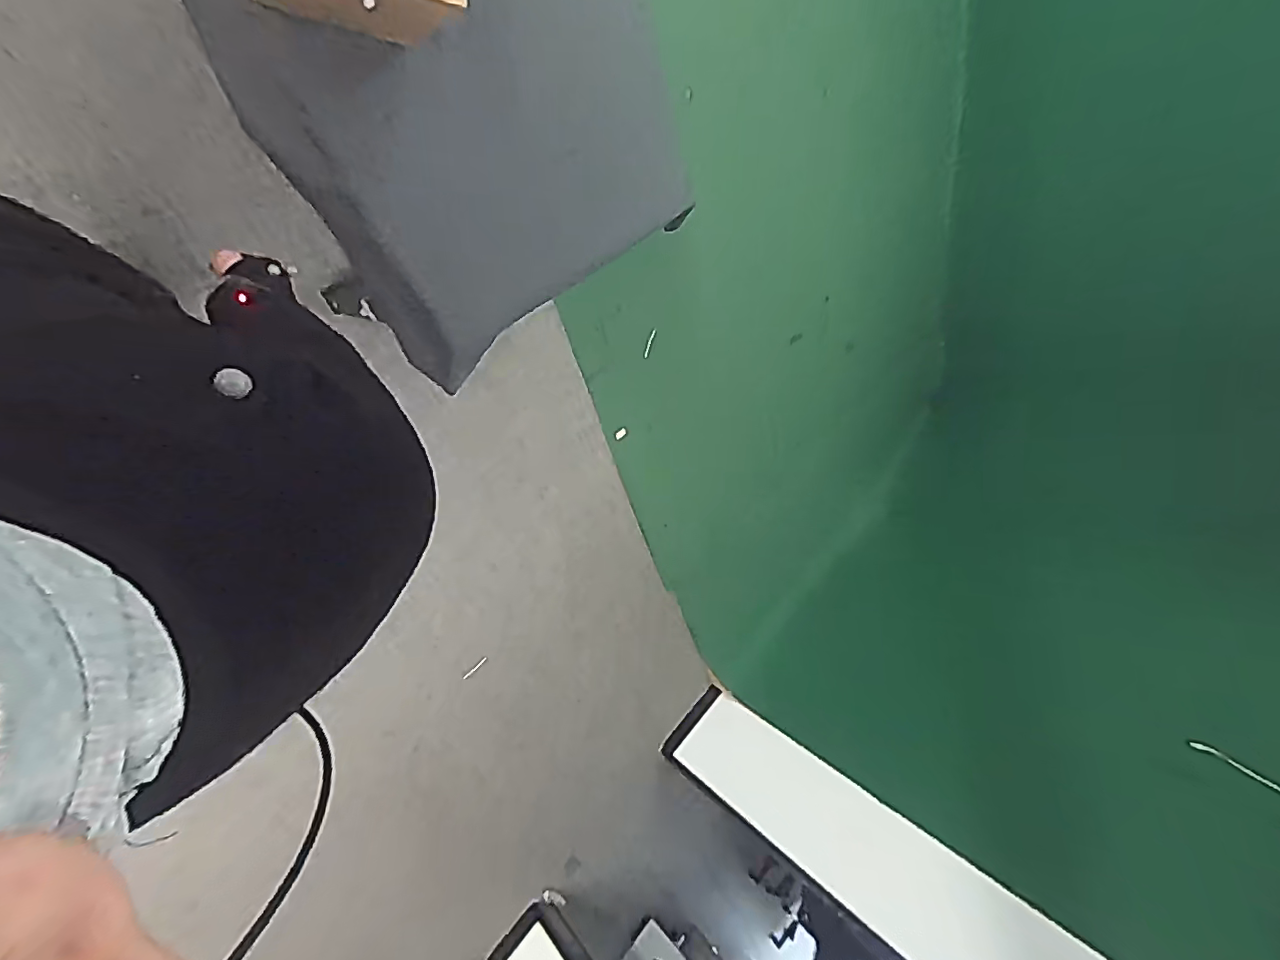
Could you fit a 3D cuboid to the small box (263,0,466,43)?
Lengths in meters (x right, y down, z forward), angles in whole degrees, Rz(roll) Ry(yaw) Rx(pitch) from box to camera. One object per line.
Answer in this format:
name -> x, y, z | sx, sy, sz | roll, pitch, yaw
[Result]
small box -> -0.309, -0.600, 0.573 | 0.179, 0.176, 0.168 | -18, 120, -41
